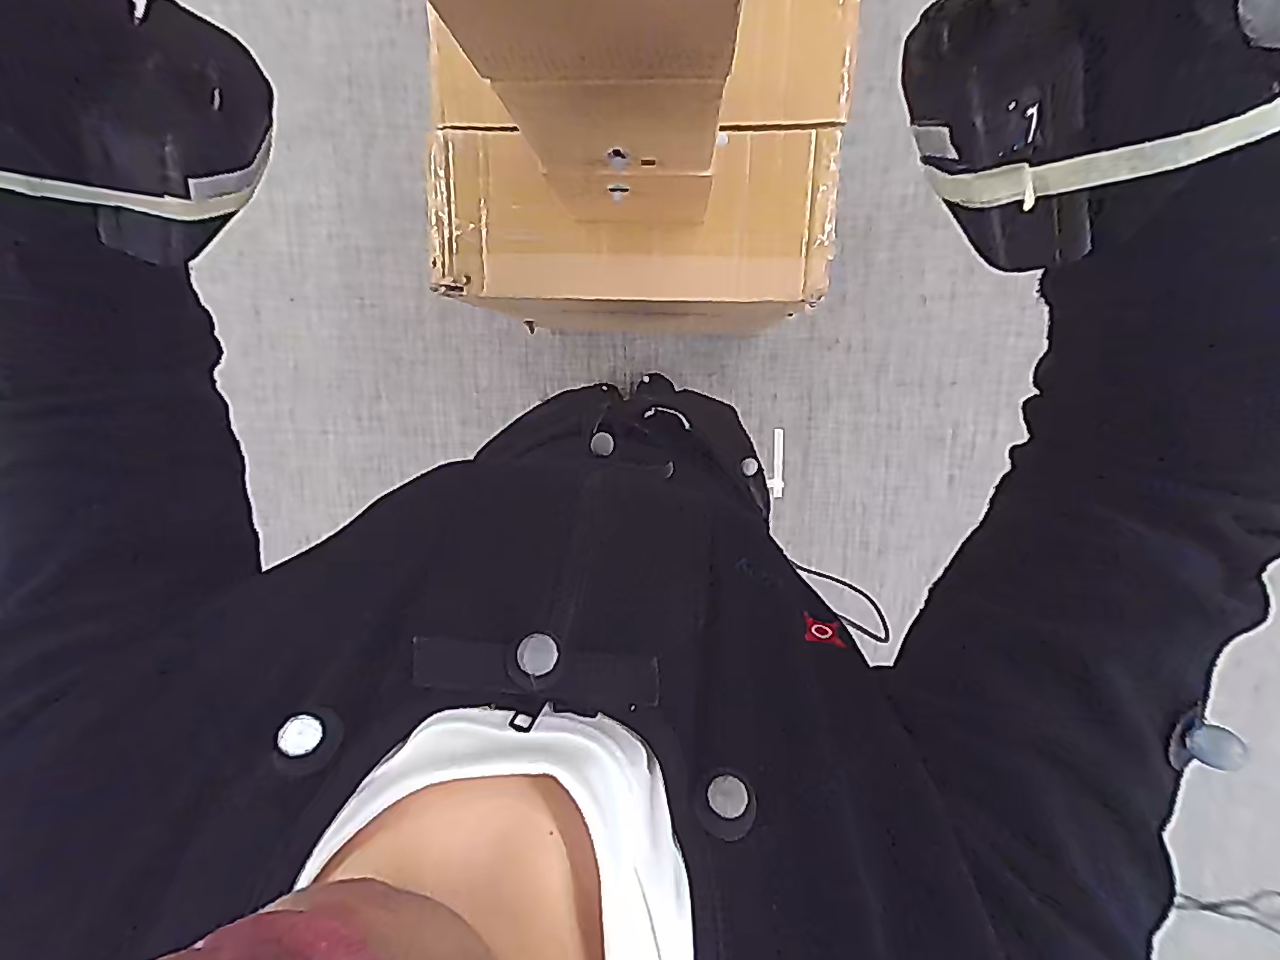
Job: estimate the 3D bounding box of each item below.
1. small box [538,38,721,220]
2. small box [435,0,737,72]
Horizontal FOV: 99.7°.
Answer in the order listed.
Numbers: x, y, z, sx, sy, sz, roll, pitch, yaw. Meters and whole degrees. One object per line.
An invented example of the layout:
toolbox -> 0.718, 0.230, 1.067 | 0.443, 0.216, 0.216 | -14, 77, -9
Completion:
small box -> -0.006, -0.397, 0.595 | 0.179, 0.176, 0.168 | 3, 101, 3
small box -> -0.028, -0.340, 0.271 | 0.179, 0.176, 0.168 | 3, 102, 4
